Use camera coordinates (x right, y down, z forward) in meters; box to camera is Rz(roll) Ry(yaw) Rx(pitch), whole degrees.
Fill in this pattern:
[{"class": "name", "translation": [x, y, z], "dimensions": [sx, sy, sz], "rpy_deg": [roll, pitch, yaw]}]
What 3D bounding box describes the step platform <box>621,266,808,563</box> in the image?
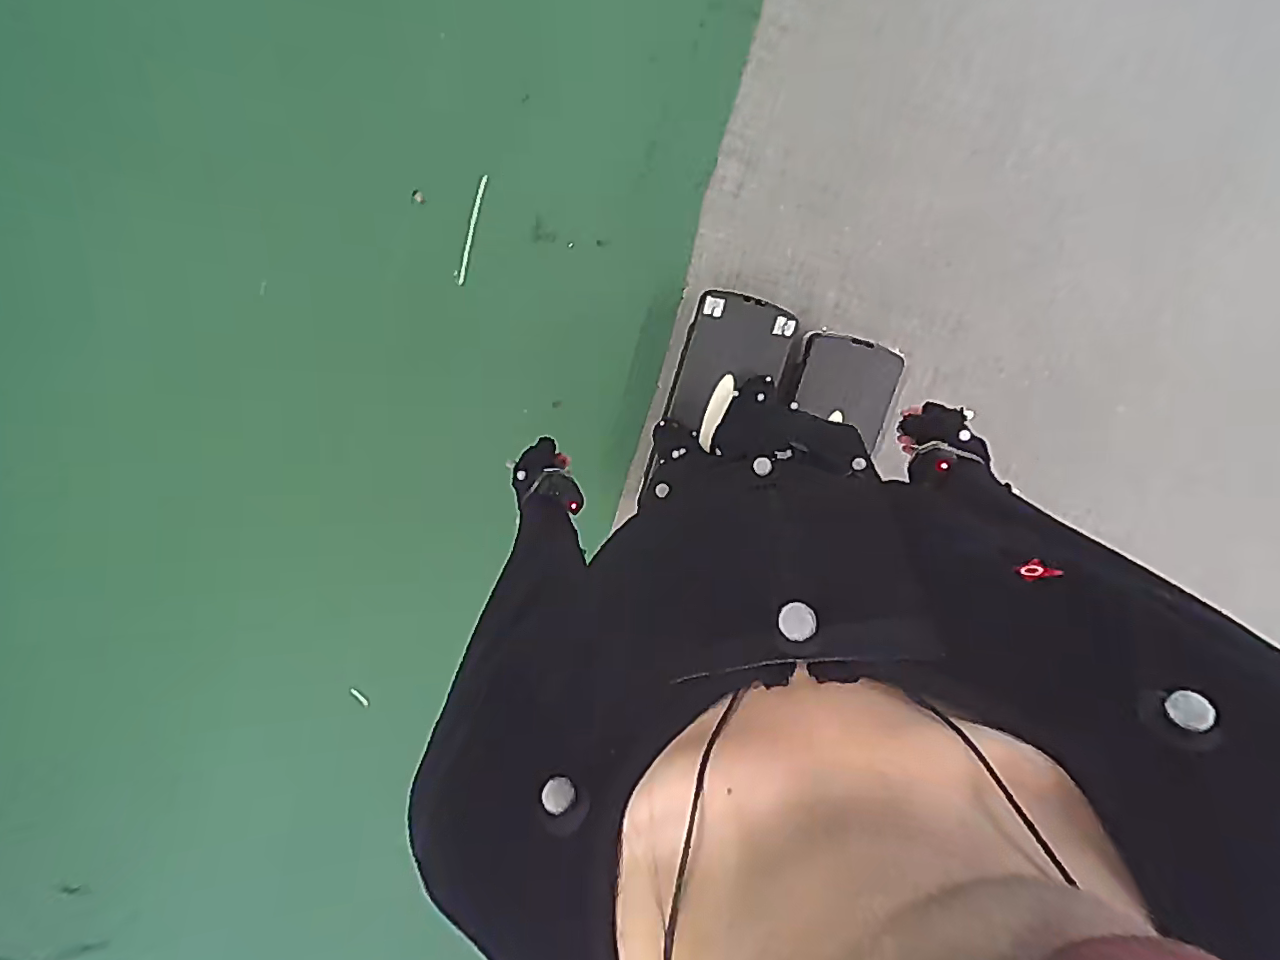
[{"class": "step platform", "translation": [0.171, -0.153, 1.355], "dimensions": [0.286, 0.204, 0.684], "rpy_deg": [16, 101, -1]}]
